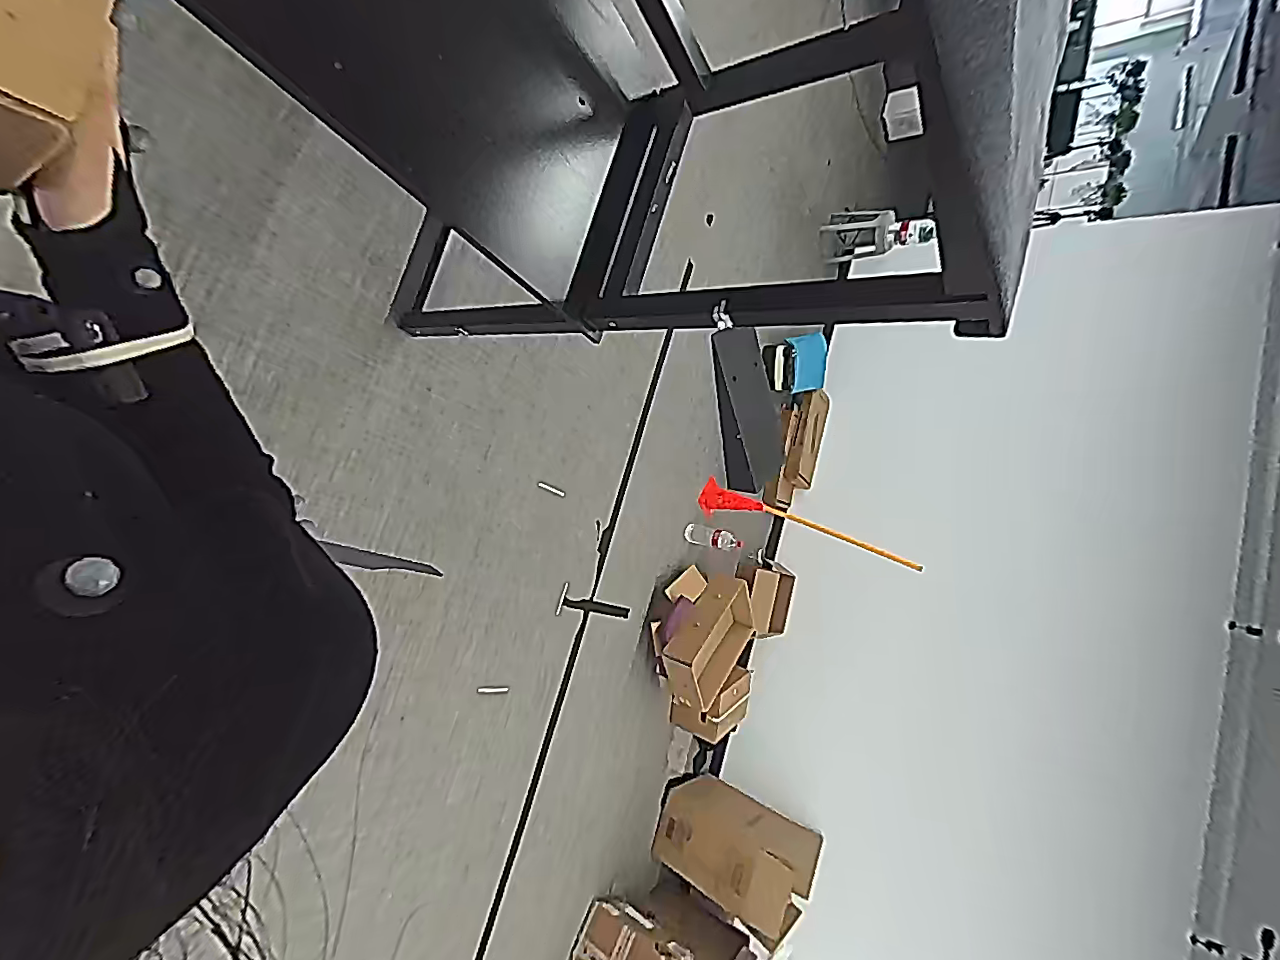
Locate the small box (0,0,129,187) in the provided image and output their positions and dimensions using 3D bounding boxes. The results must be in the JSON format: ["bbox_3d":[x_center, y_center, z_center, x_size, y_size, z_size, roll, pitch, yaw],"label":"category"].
[{"bbox_3d":[-0.312,-0.243,0.201,0.168,0.176,0.179,17,83,-56],"label":"small box"}]
